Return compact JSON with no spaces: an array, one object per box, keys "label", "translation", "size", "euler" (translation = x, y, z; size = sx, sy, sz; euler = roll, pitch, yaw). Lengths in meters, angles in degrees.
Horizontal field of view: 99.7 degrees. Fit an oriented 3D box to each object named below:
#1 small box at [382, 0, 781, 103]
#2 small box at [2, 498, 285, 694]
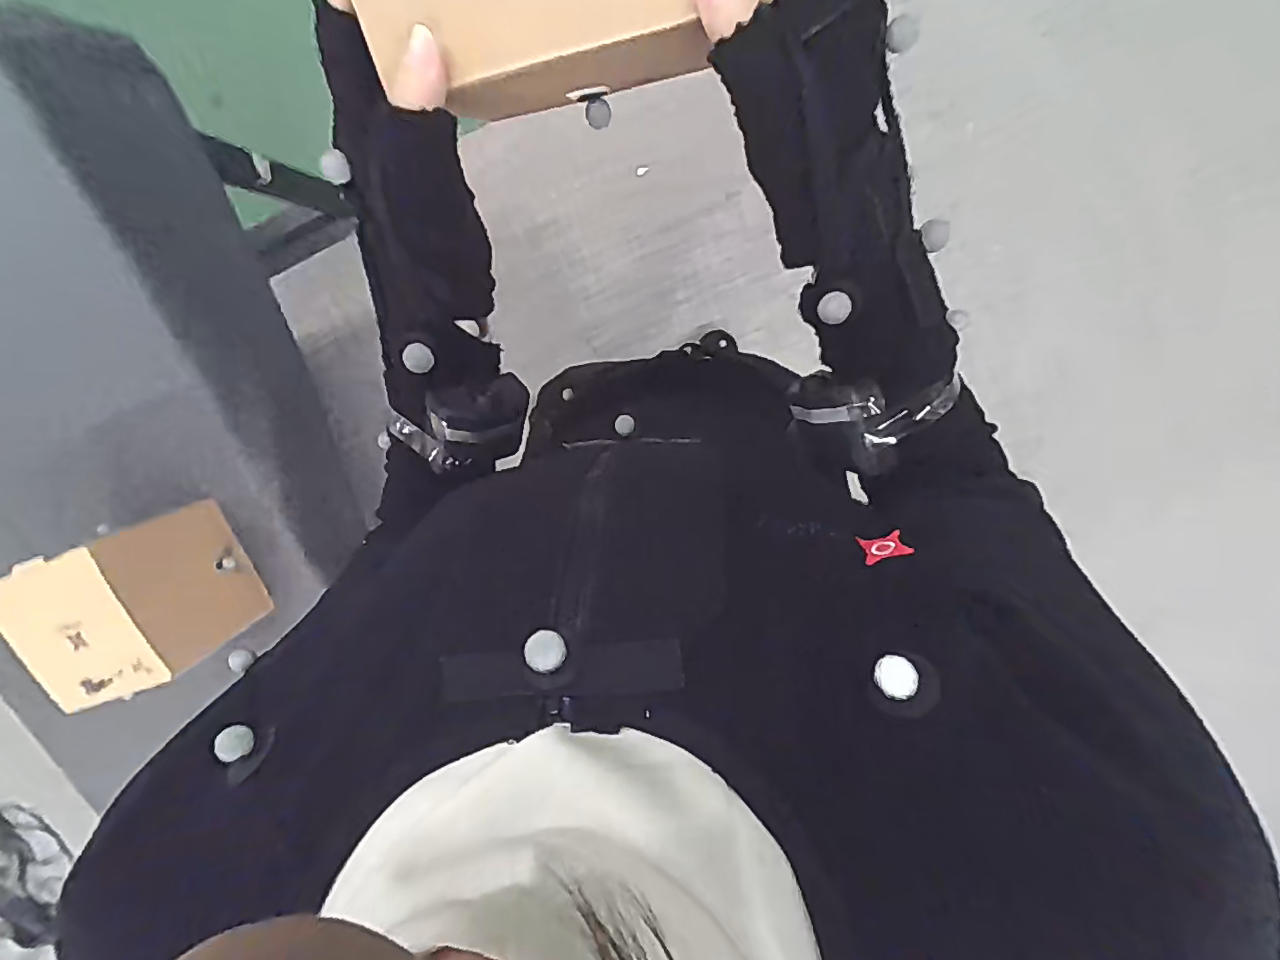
[{"label":"small box","translation":[-0.029,-0.296,0.245],"size":[0.168,0.176,0.179],"euler":[-7,121,10]},{"label":"small box","translation":[-0.619,0.136,0.700],"size":[0.168,0.176,0.179],"euler":[-19,104,11]}]
